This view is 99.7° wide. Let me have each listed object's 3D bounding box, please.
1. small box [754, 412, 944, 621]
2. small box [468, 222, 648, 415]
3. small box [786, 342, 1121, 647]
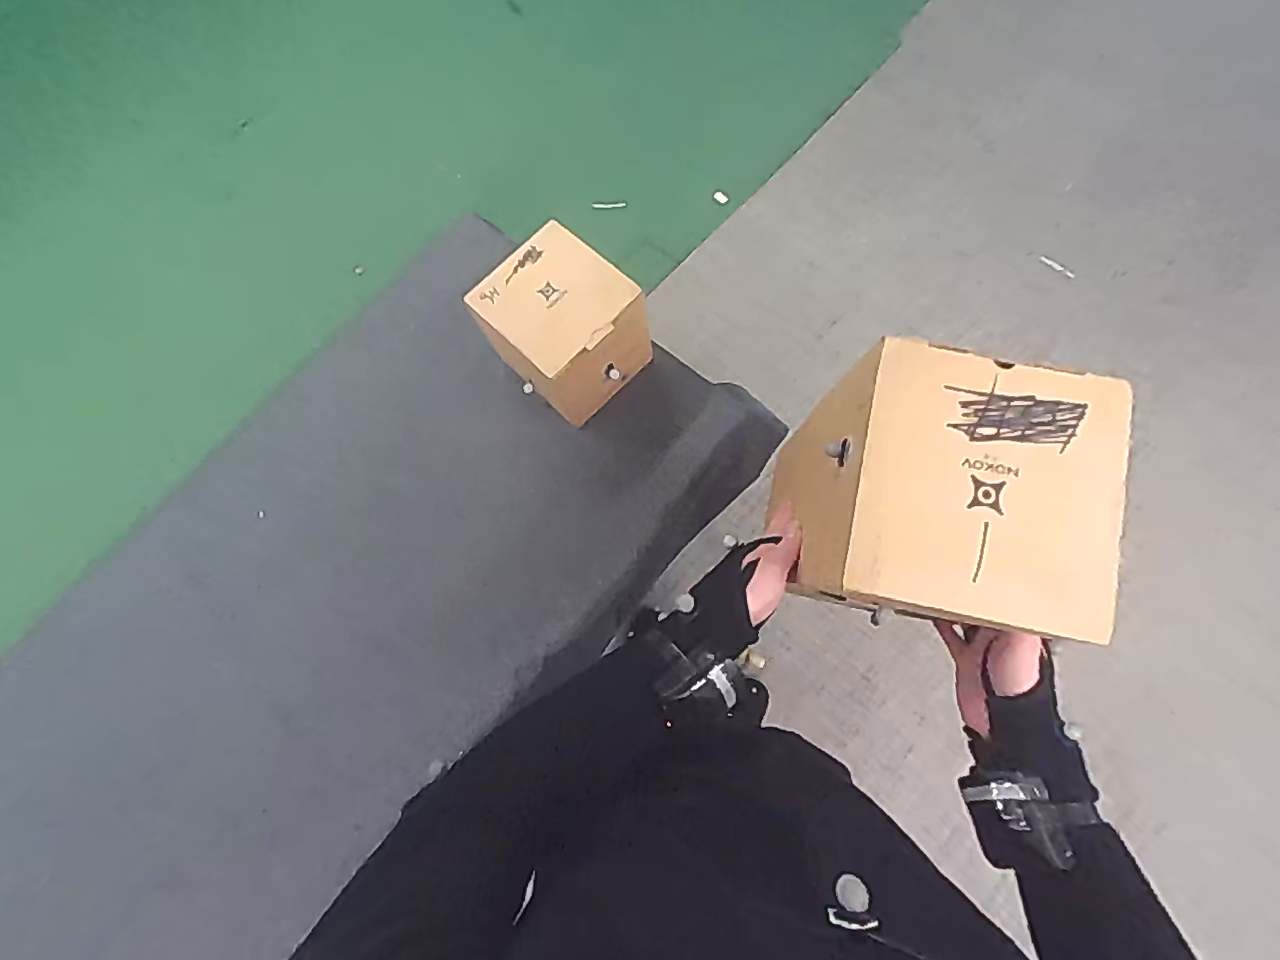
[{"bbox_3d":[0.230,0.046,0.599,0.168,0.176,0.179,12,80,3],"label":"small box"},{"bbox_3d":[-0.102,-0.213,0.770,0.168,0.176,0.179,-44,77,-8],"label":"small box"},{"bbox_3d":[0.228,0.016,0.436,0.168,0.176,0.179,13,82,3],"label":"small box"}]
